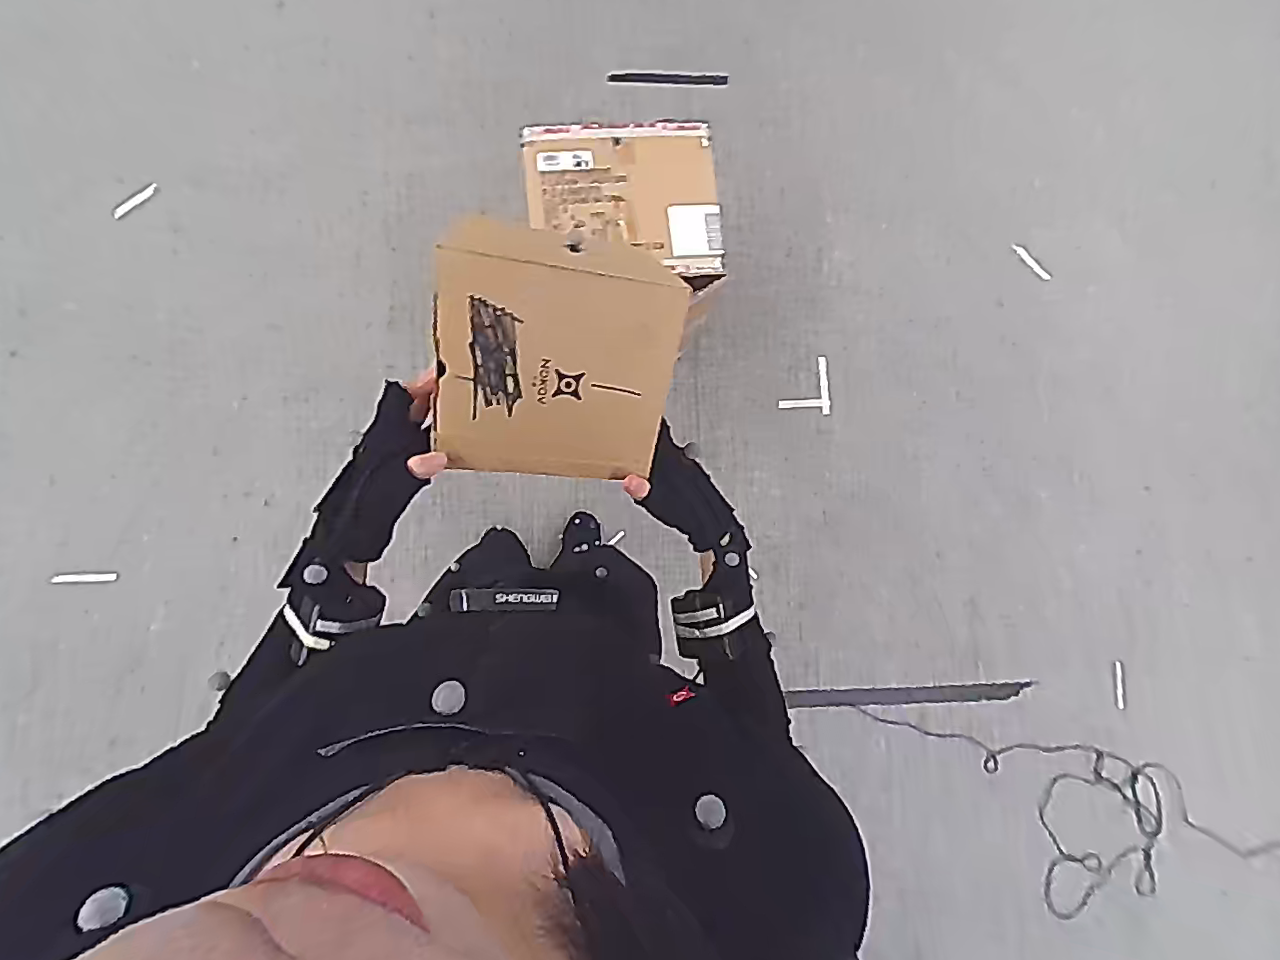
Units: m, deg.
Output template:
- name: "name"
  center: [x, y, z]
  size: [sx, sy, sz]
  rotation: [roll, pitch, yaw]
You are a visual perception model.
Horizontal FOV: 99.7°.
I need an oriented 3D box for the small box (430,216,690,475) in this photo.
- name: "small box"
  center: [-0.078, -0.121, 0.467]
  size: [0.179, 0.176, 0.168]
  rotation: [3, 121, -15]
